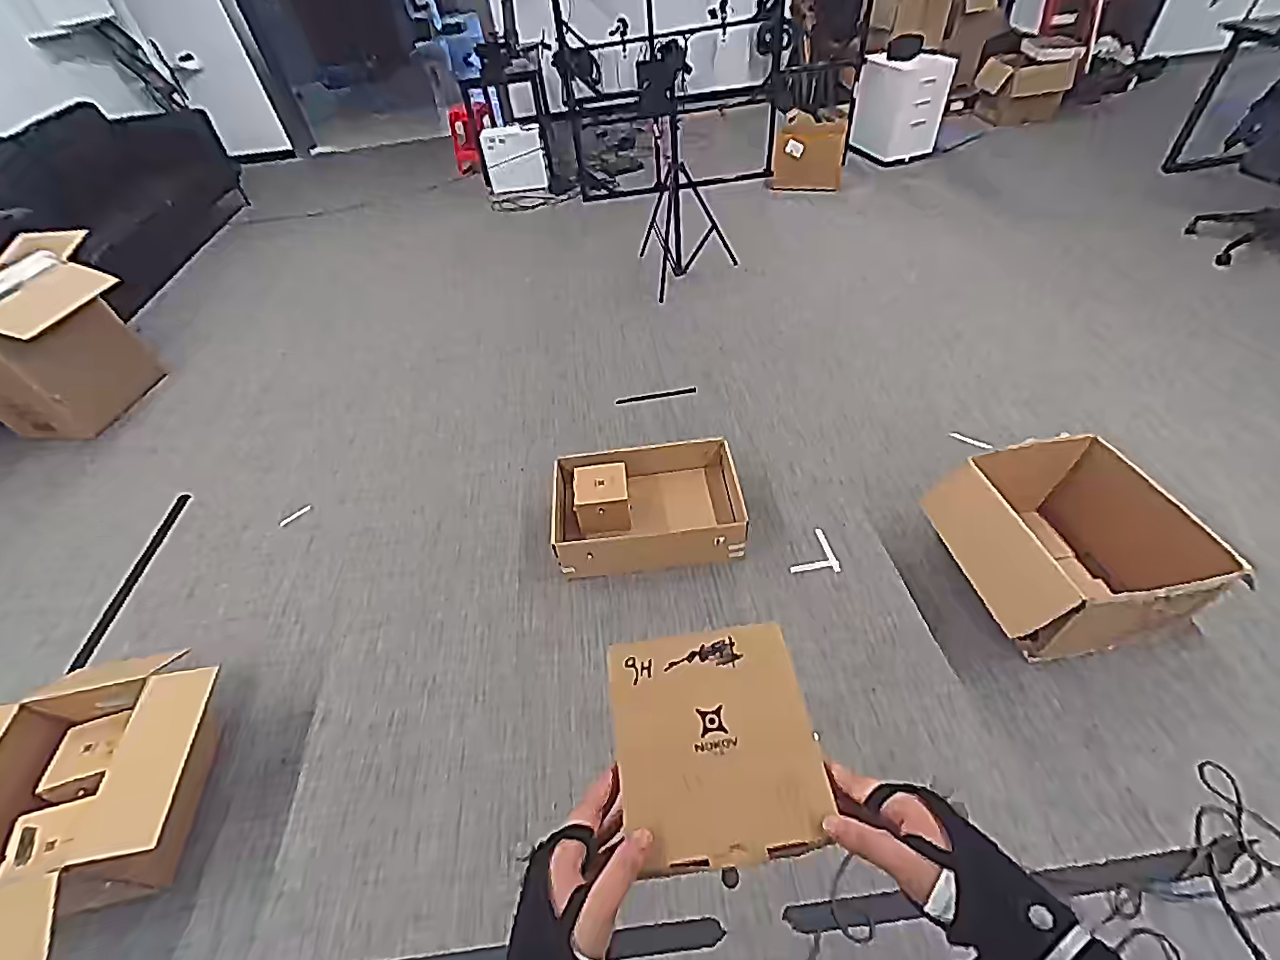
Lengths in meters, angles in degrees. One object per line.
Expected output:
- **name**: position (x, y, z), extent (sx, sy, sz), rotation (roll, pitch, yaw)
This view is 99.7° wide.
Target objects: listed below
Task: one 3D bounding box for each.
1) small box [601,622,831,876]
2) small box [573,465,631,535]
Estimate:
- **small box**: position (0.059, 0.258, 0.516), extent (0.168, 0.176, 0.179), rotation (-7, 53, -3)
- **small box**: position (-0.128, 0.073, 1.848), extent (0.179, 0.176, 0.168), rotation (-6, 49, -1)
